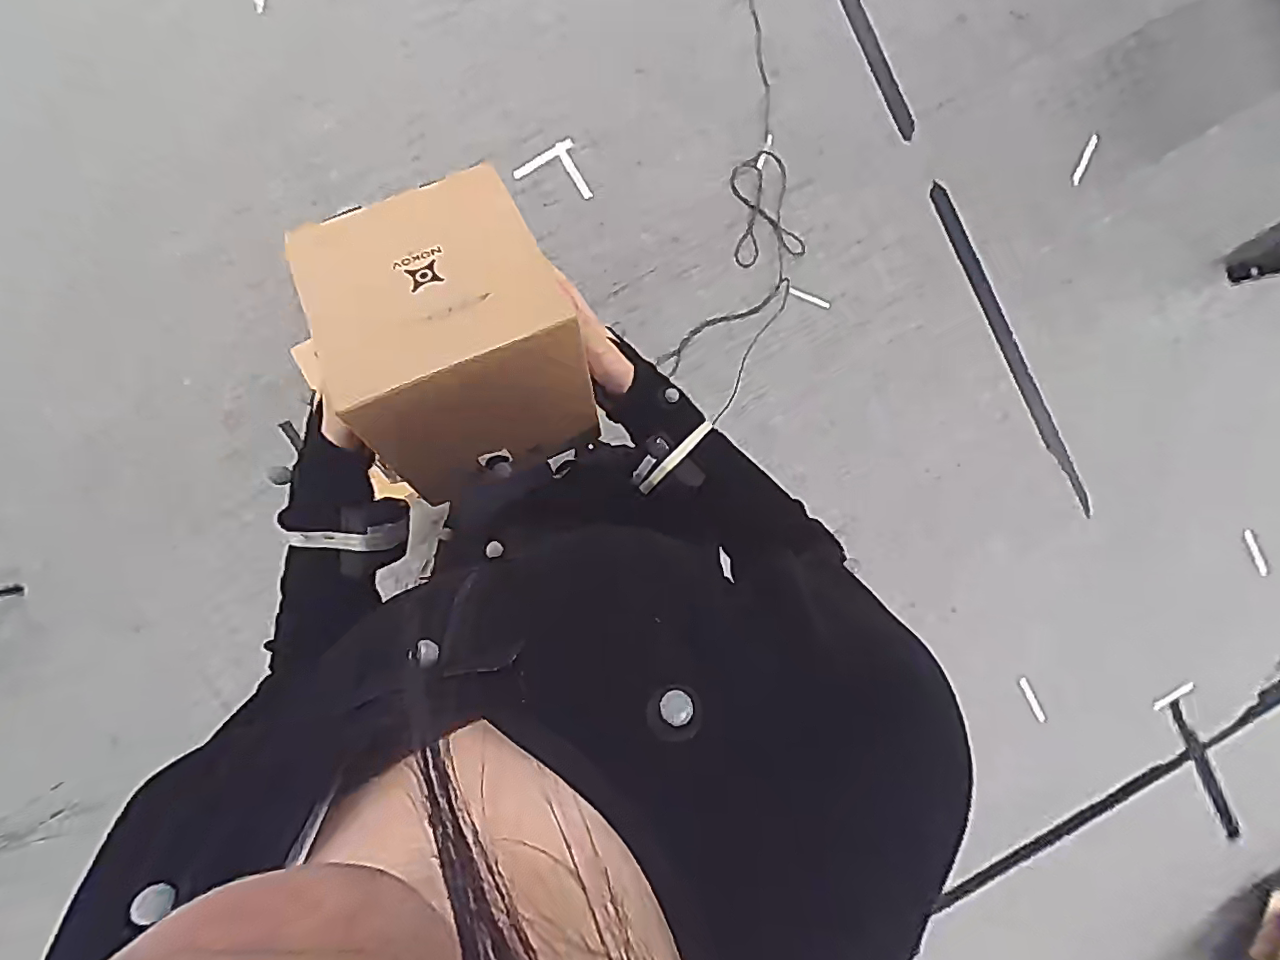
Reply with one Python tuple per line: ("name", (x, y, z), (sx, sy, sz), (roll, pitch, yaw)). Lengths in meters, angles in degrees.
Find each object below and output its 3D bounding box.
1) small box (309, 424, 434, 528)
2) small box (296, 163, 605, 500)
("small box", (-0.577, -0.018, 1.203), (0.179, 0.176, 0.168), (-30, 96, 0))
("small box", (-0.140, -0.111, 0.447), (0.168, 0.176, 0.179), (-25, 68, -9))
